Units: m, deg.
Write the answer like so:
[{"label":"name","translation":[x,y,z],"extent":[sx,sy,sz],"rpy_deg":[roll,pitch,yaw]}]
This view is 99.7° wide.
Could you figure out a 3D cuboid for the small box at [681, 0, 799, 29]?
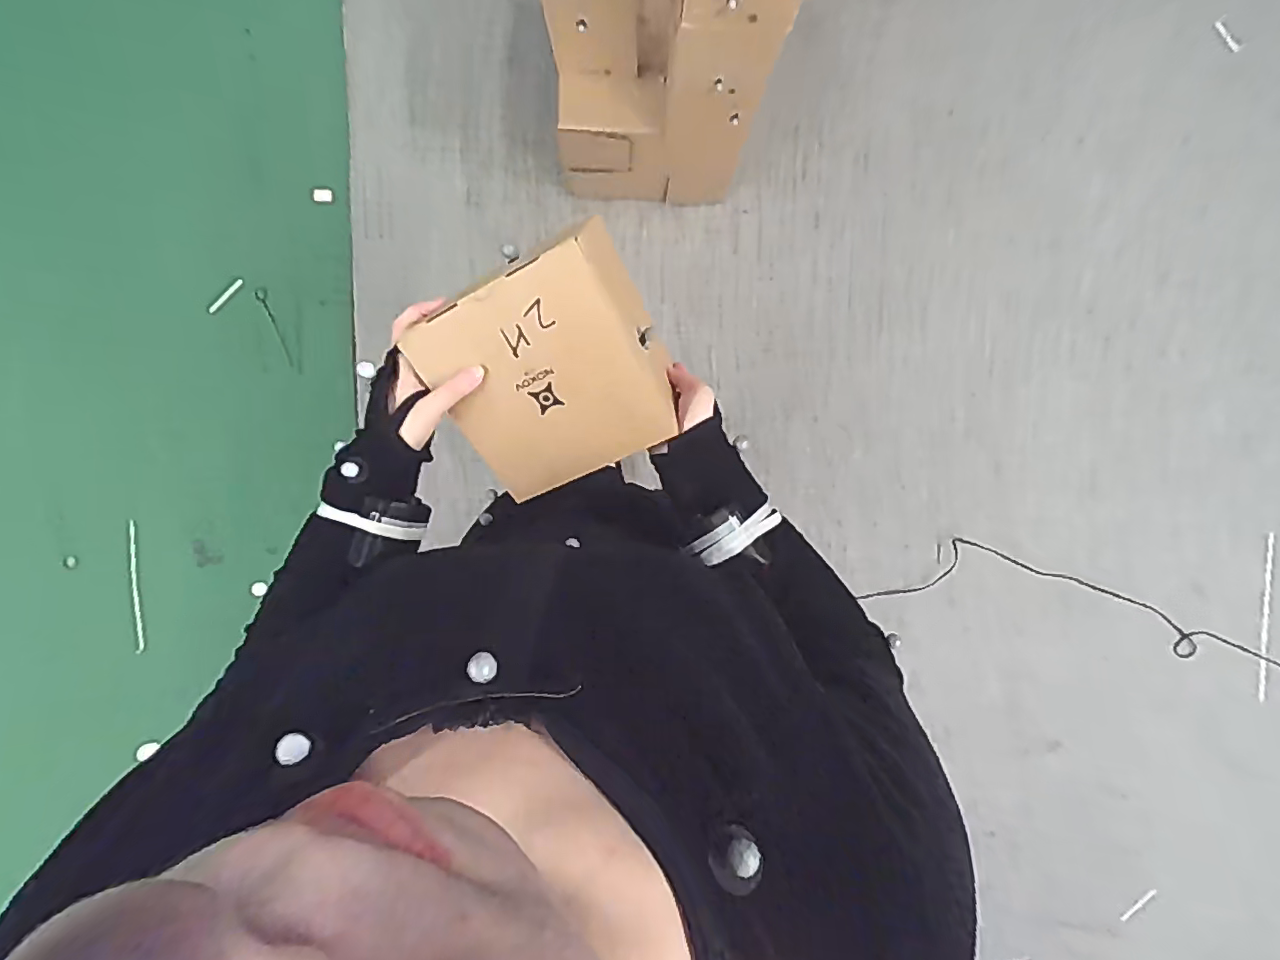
[{"label":"small box","translation":[0.144,-0.748,0.707],"extent":[0.168,0.176,0.179],"rpy_deg":[2,94,-1]}]

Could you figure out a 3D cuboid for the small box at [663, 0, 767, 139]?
[{"label":"small box","translation":[0.136,-0.781,1.032],"extent":[0.179,0.176,0.168],"rpy_deg":[0,93,0]}]

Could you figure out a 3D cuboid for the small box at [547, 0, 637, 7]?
[{"label":"small box","translation":[-0.082,-0.900,0.857],"extent":[0.179,0.176,0.168],"rpy_deg":[1,94,1]}]

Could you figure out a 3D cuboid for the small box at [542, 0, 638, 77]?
[{"label":"small box","translation":[-0.088,-0.913,1.023],"extent":[0.168,0.176,0.179],"rpy_deg":[2,93,0]}]
